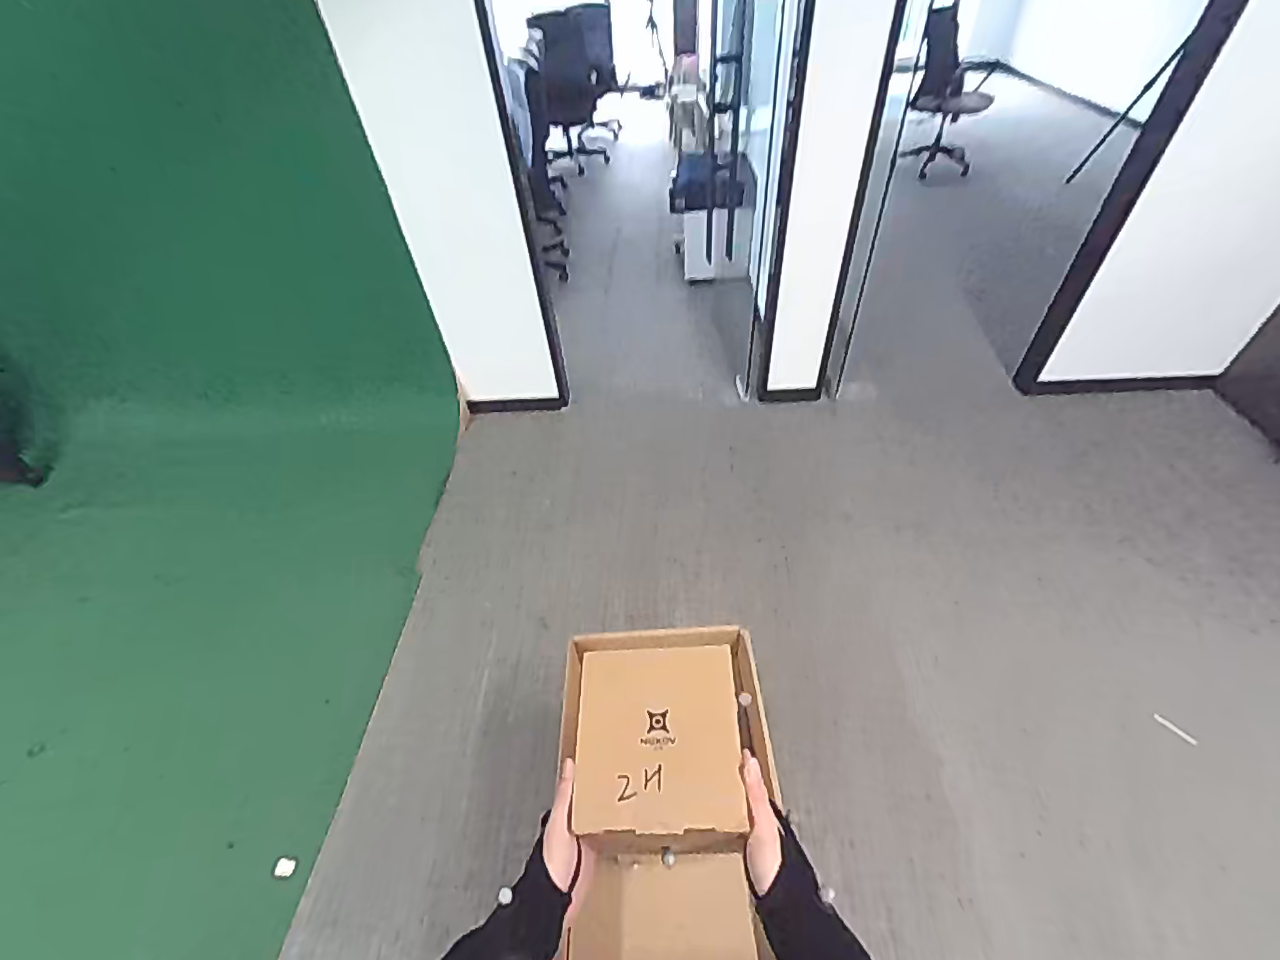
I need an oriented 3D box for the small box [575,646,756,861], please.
[{"bbox_3d":[0.032,0.303,0.598,0.168,0.176,0.179,-4,49,6],"label":"small box"}]
